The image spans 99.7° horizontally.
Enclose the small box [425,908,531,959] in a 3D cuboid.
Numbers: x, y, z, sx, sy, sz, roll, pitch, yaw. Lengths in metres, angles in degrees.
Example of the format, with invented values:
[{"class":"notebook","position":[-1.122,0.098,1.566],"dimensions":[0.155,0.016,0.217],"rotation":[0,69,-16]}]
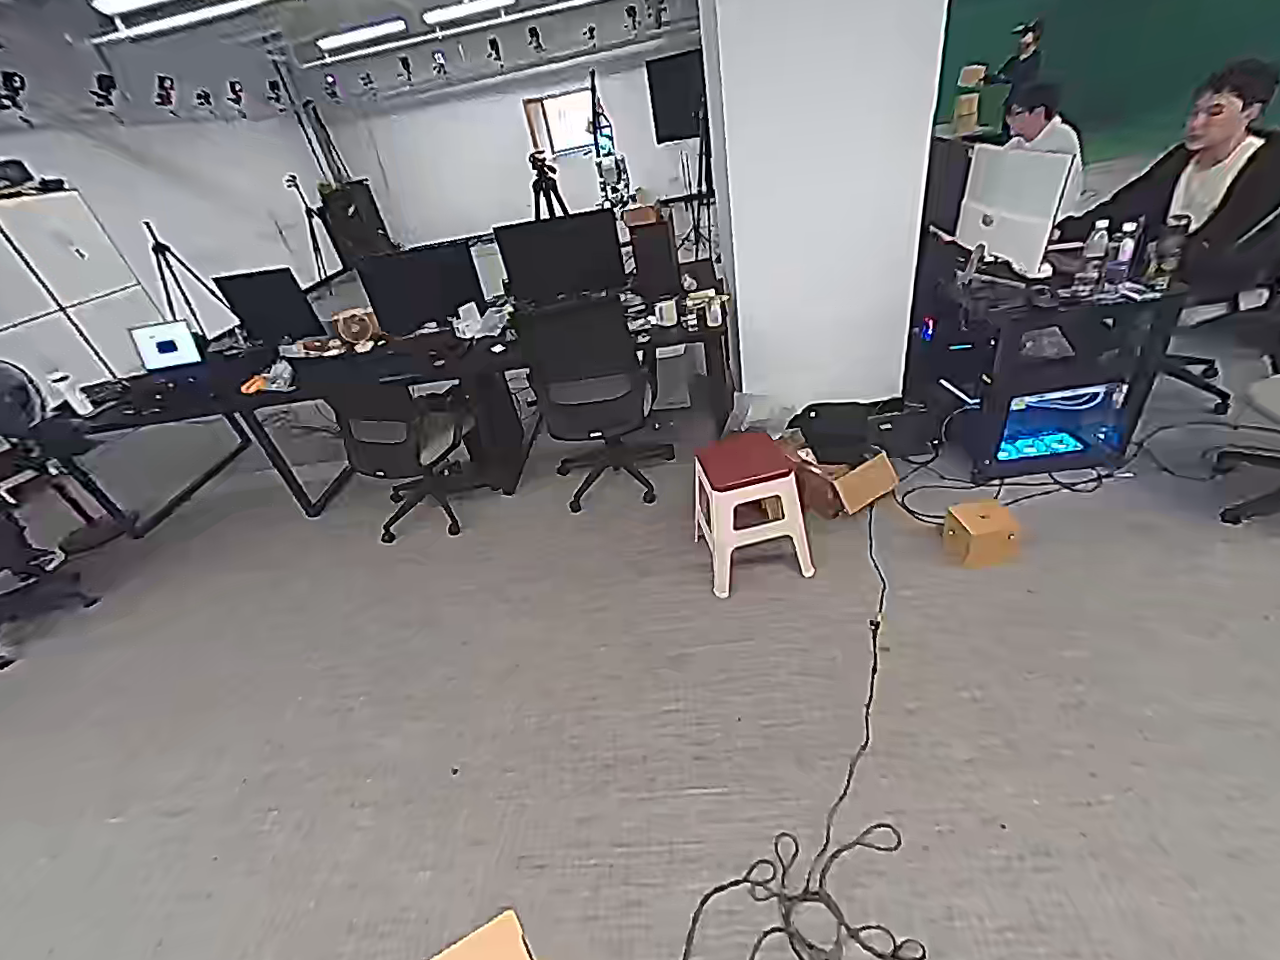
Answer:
[{"class":"small box","position":[-0.187,0.603,0.545],"dimensions":[0.179,0.176,0.168],"rotation":[-9,36,-36]}]
